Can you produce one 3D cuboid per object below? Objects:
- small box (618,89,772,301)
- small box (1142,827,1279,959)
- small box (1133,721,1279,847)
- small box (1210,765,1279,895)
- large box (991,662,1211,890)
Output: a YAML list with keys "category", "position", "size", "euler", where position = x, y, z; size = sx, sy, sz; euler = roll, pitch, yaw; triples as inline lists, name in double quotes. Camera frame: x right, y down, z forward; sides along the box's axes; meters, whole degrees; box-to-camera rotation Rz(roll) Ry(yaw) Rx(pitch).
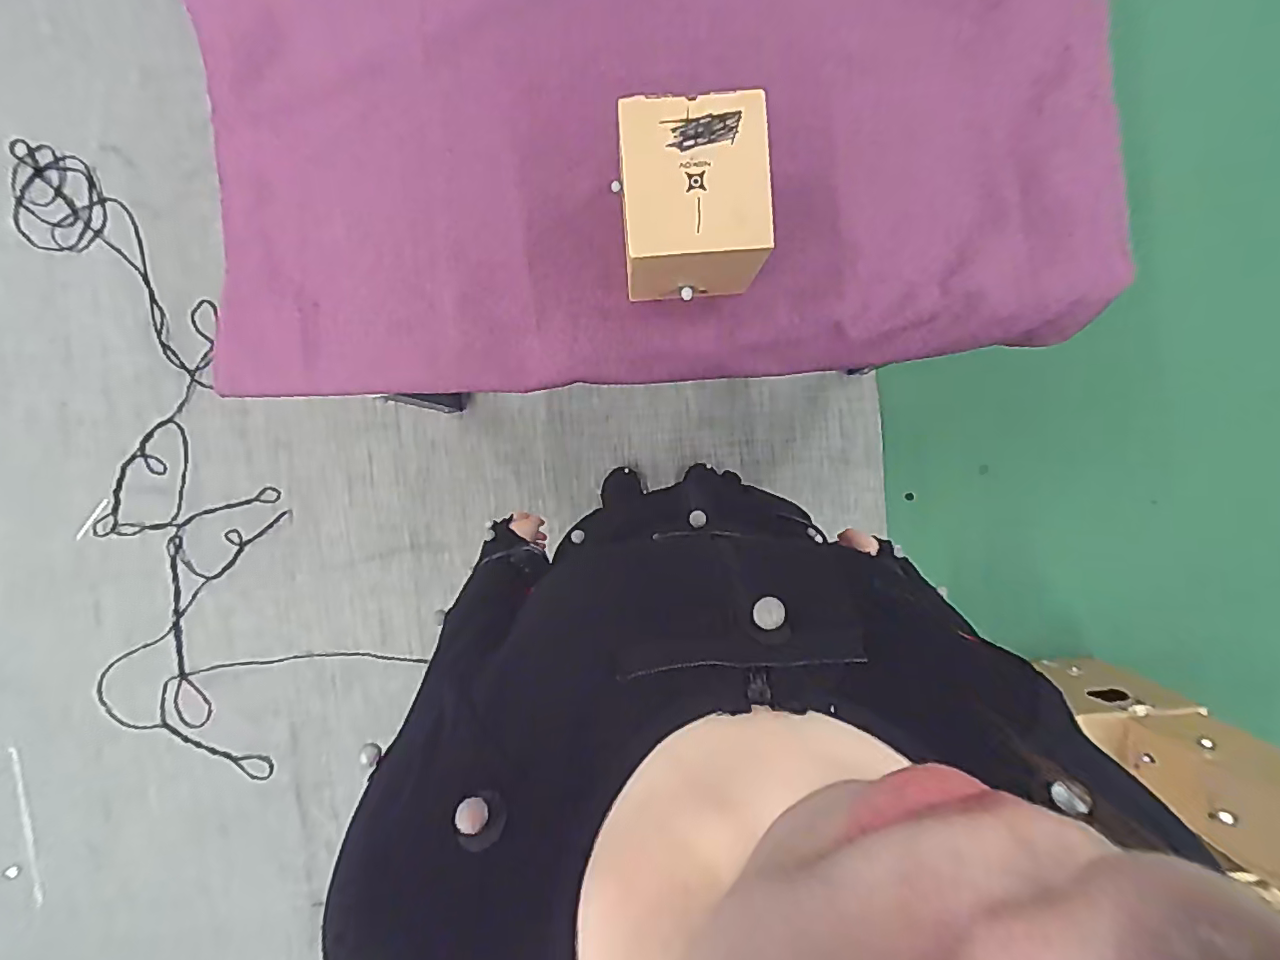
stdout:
- category: "small box"
  position: [0.059, -0.338, 0.669]
  size: [0.168, 0.176, 0.179]
  euler: [-4, 92, 0]
- category: "small box"
  position: [1.212, 0.871, 1.134]
  size: [0.168, 0.176, 0.179]
  euler: [2, 92, -1]
- category: "small box"
  position: [1.191, 0.623, 1.128]
  size: [0.179, 0.176, 0.168]
  euler: [-3, 93, 0]
- category: "small box"
  position: [1.190, 0.633, 0.963]
  size: [0.179, 0.176, 0.168]
  euler: [-4, 92, 0]
- category: "large box"
  position: [1.147, 0.722, 1.374]
  size: [0.320, 0.320, 0.408]
  euler: [-4, 93, 1]
